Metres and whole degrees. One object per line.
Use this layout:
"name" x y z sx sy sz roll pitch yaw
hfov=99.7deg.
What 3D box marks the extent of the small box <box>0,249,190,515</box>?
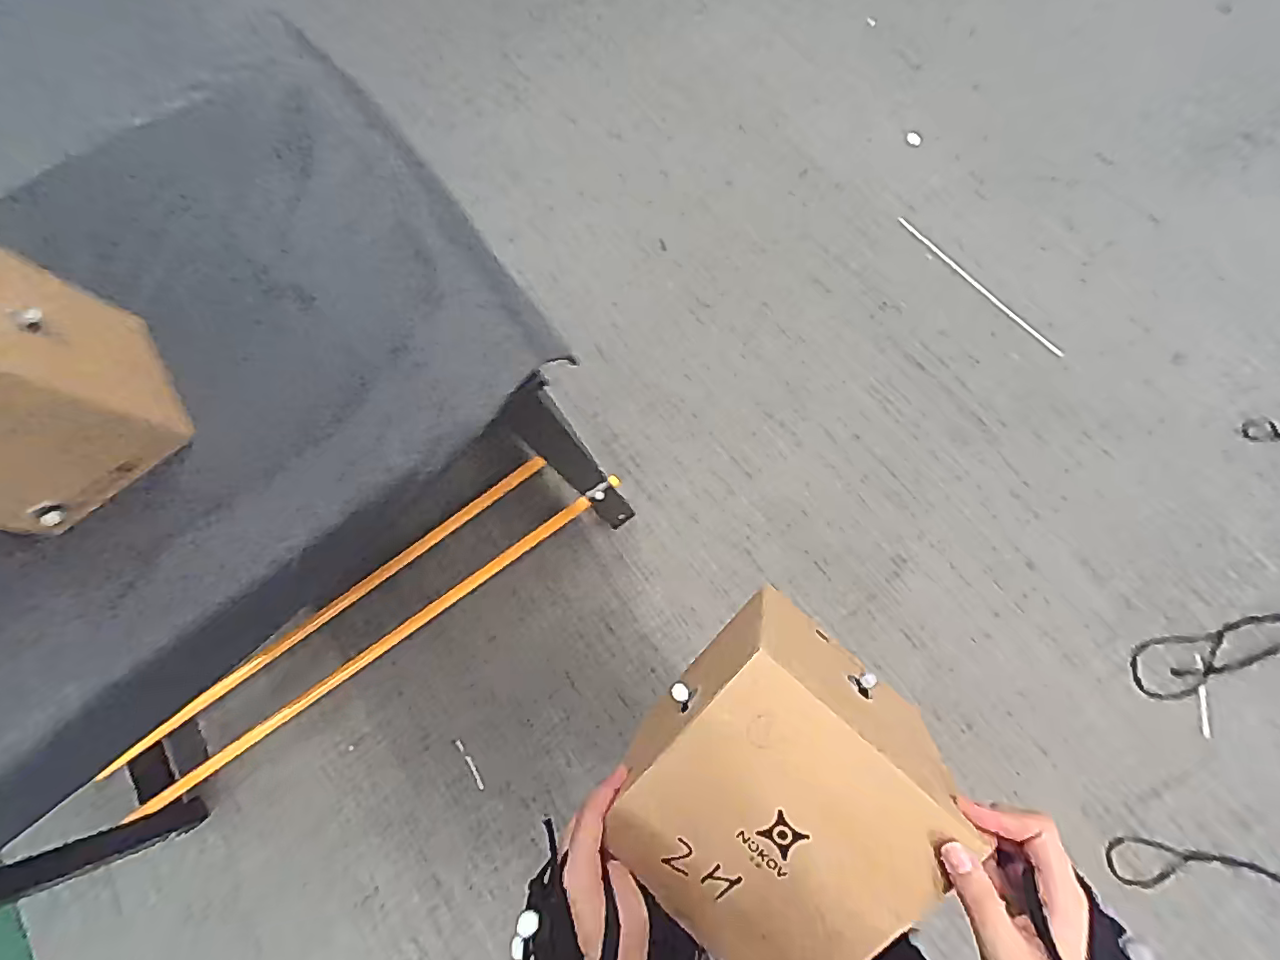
"small box" -0.563 -0.084 0.484 0.168 0.176 0.179 -37 73 -3
